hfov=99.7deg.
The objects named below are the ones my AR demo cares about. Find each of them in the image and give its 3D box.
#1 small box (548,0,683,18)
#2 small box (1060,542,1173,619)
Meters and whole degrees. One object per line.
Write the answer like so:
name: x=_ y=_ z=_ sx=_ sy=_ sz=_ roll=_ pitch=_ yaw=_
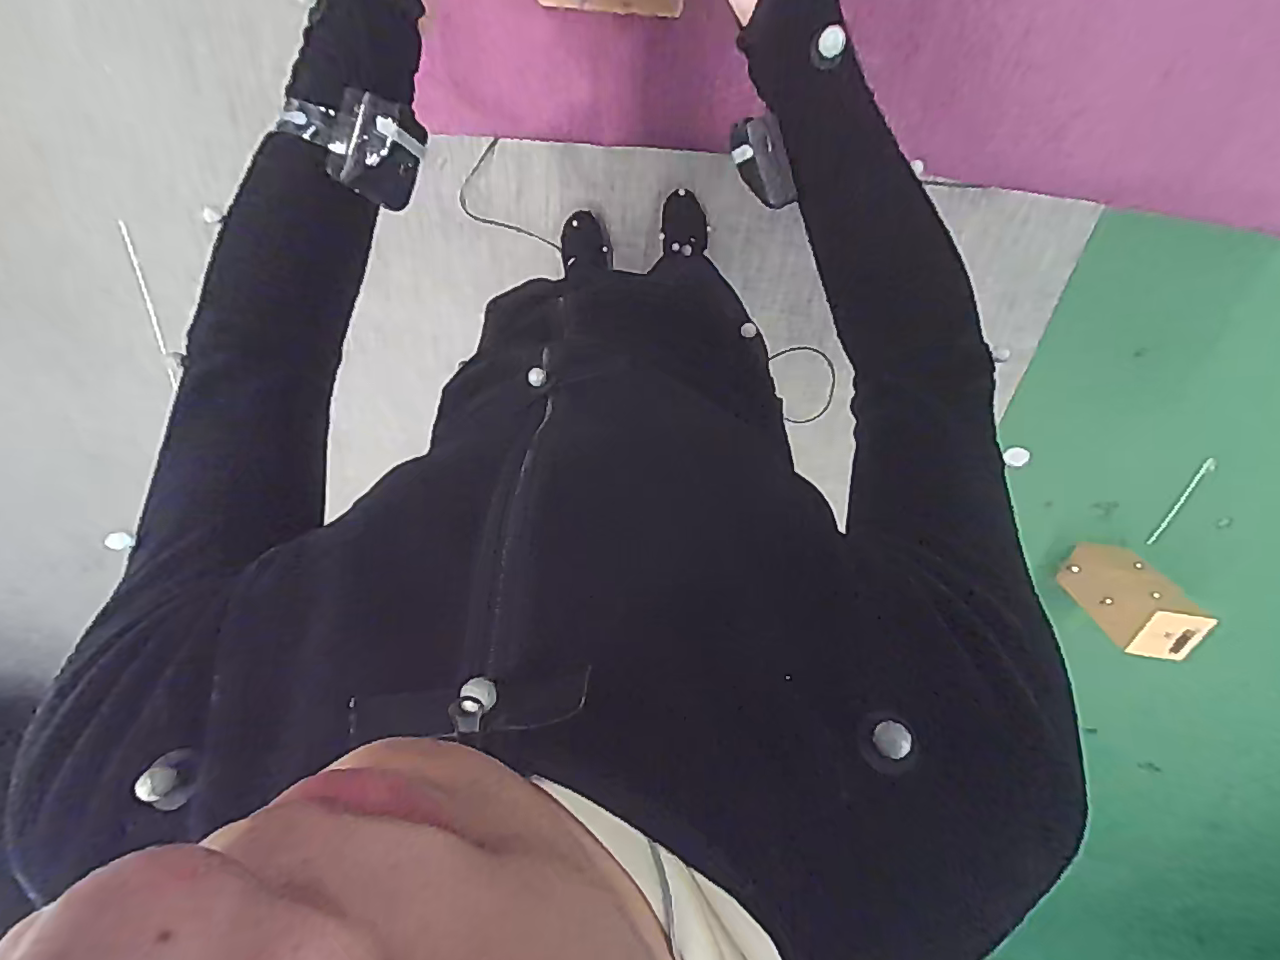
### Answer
small box: x=-0.032 y=-0.580 z=0.523 sx=0.168 sy=0.176 sz=0.179 roll=5 pitch=118 yaw=1
small box: x=1.520 y=0.319 z=1.738 sx=0.179 sy=0.176 sz=0.168 roll=9 pitch=119 yaw=-1
